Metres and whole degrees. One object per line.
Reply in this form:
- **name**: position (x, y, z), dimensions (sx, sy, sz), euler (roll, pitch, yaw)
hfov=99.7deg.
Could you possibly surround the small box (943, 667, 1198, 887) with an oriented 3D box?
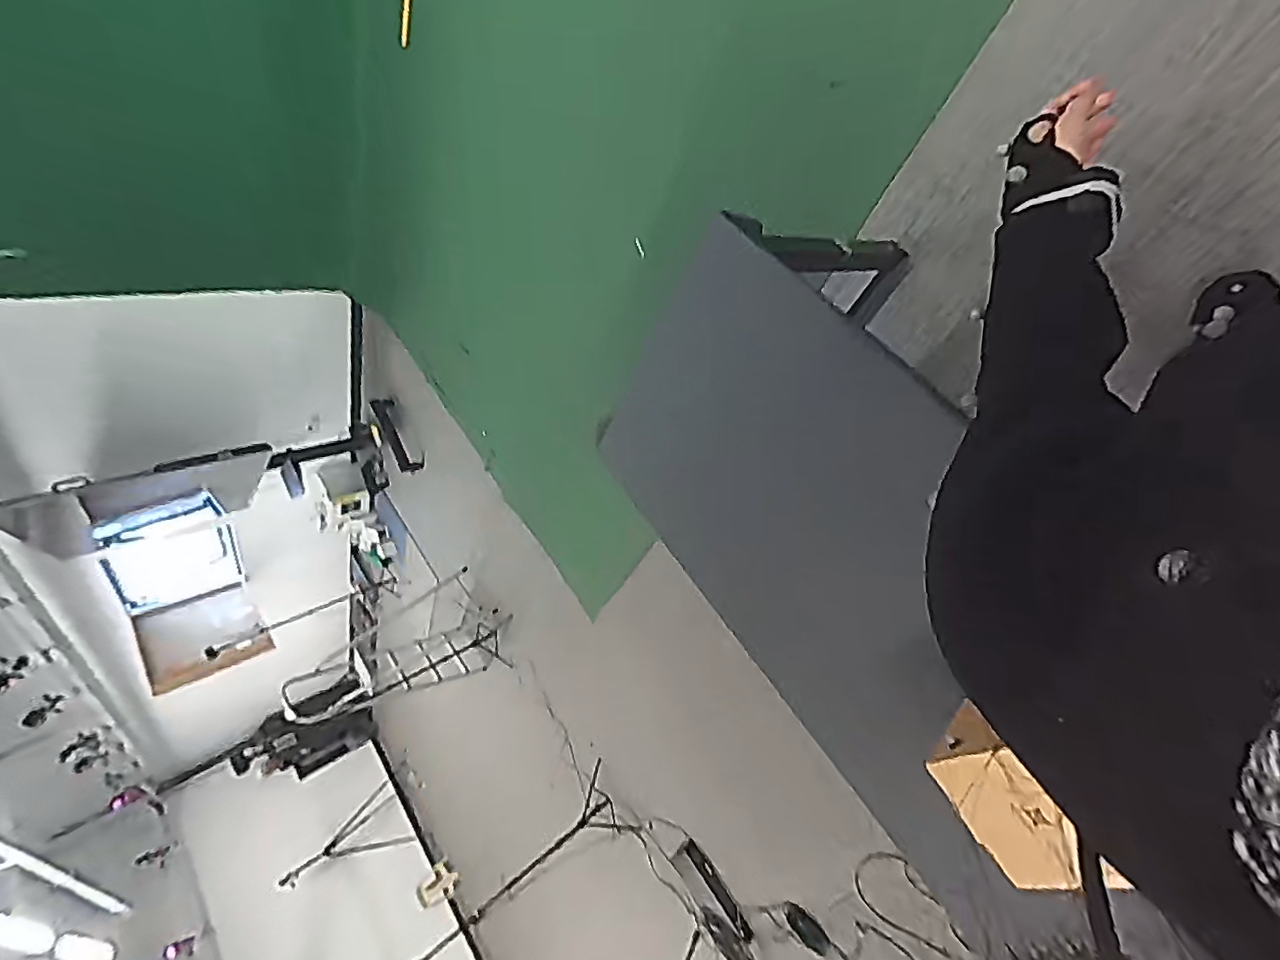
- **small box**: position (0.529, 0.361, 0.671), dimensions (0.168, 0.176, 0.179), euler (55, 139, 18)
